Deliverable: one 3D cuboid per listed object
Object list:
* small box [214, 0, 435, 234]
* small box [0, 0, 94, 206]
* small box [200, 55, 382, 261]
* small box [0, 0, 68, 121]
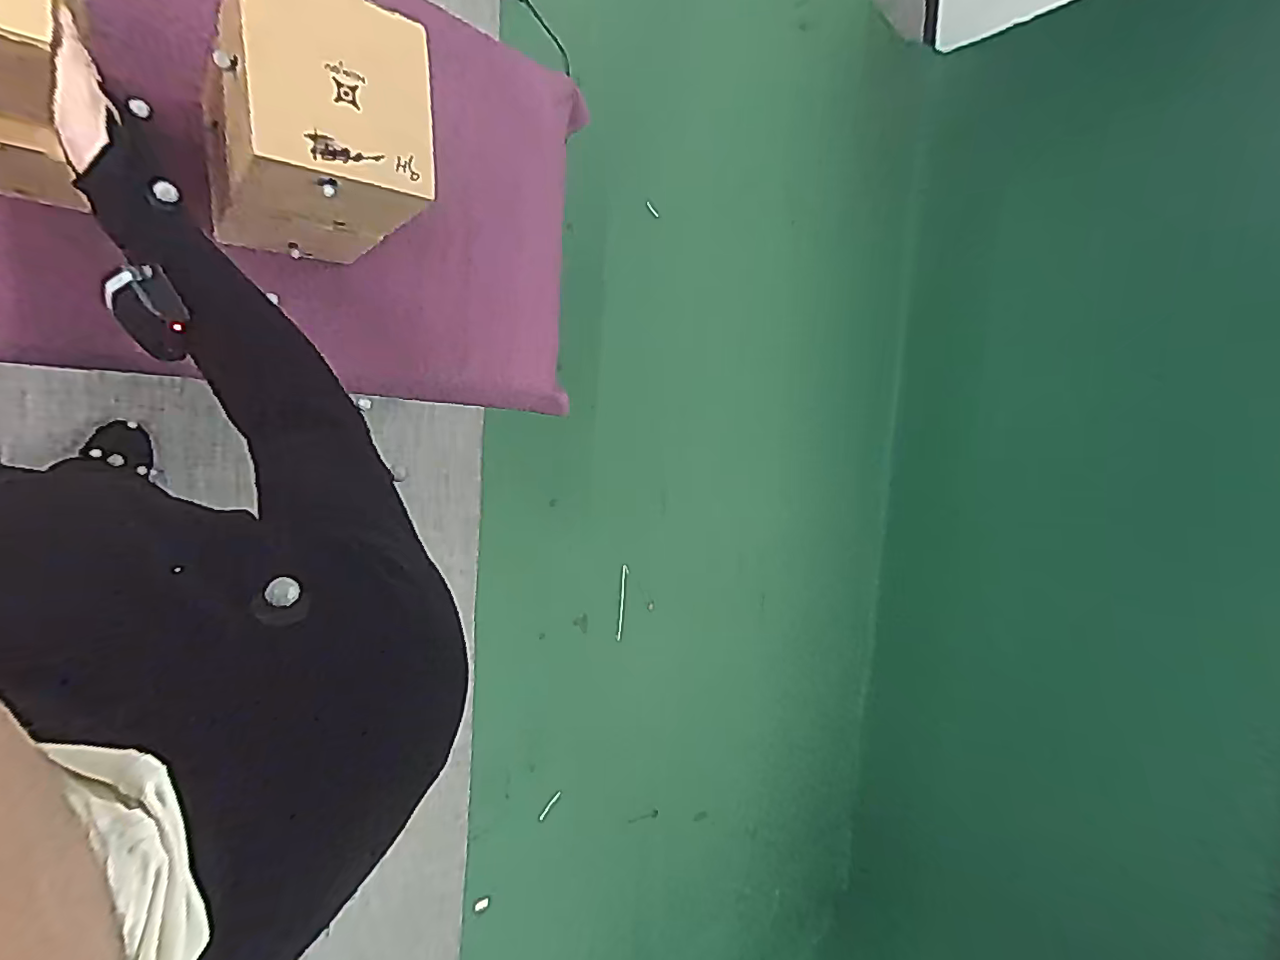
[{"bbox_3d":[-0.336,-0.387,0.575,0.168,0.176,0.179,-7,99,-42],"label":"small box"},{"bbox_3d":[-0.644,-0.393,0.515,0.168,0.176,0.179,-5,99,-43],"label":"small box"},{"bbox_3d":[-0.448,-0.402,0.694,0.168,0.176,0.179,-6,100,-42],"label":"small box"},{"bbox_3d":[-0.535,-0.400,0.384,0.168,0.176,0.179,-3,96,-43],"label":"small box"}]
